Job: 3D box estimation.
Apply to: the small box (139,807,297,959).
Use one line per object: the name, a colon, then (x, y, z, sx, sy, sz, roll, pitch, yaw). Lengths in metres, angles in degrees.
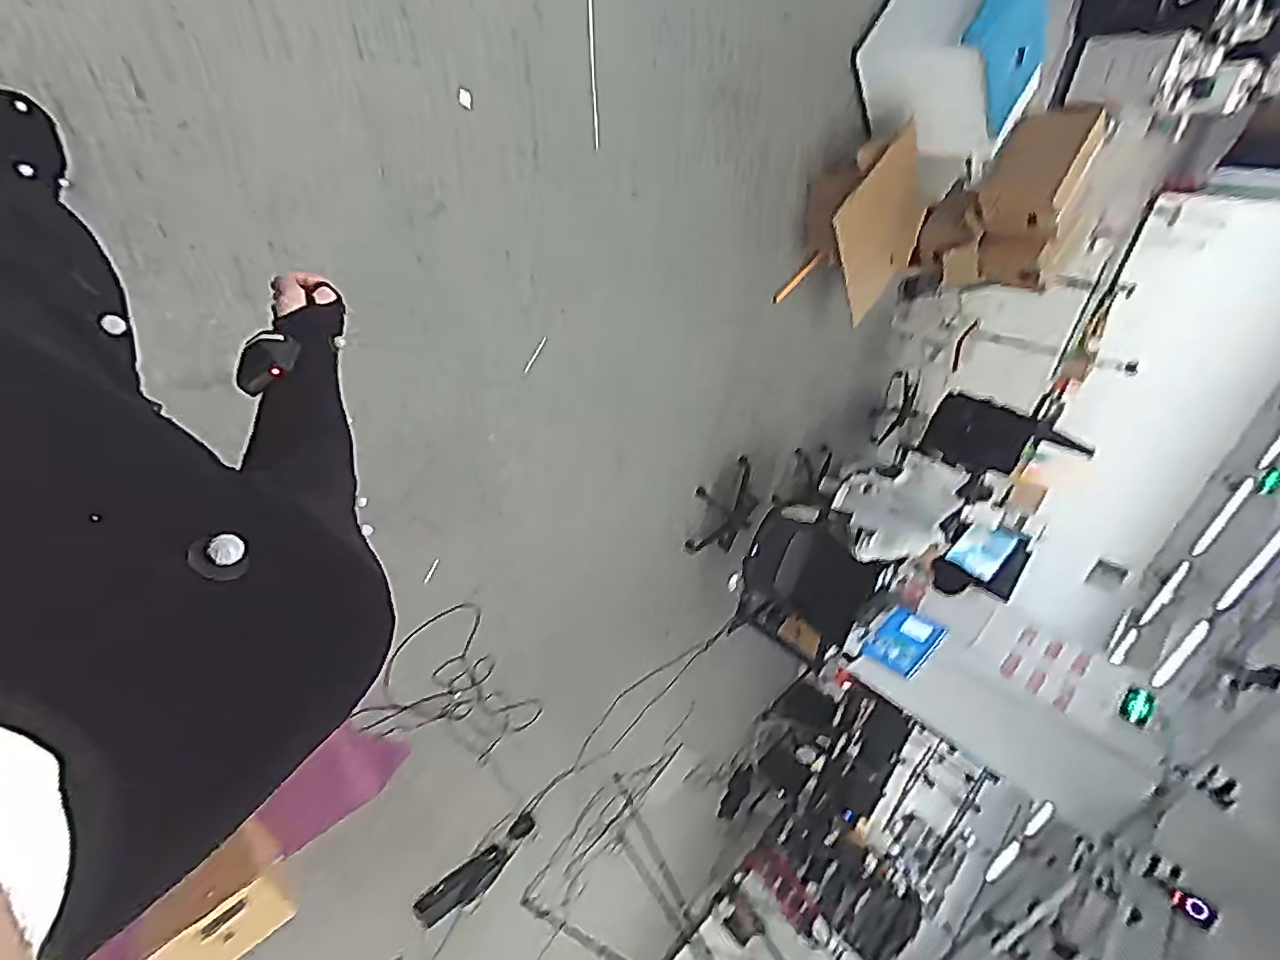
small box: (-0.764, 0.740, 0.981, 0.168, 0.176, 0.179, -28, 133, -33)
